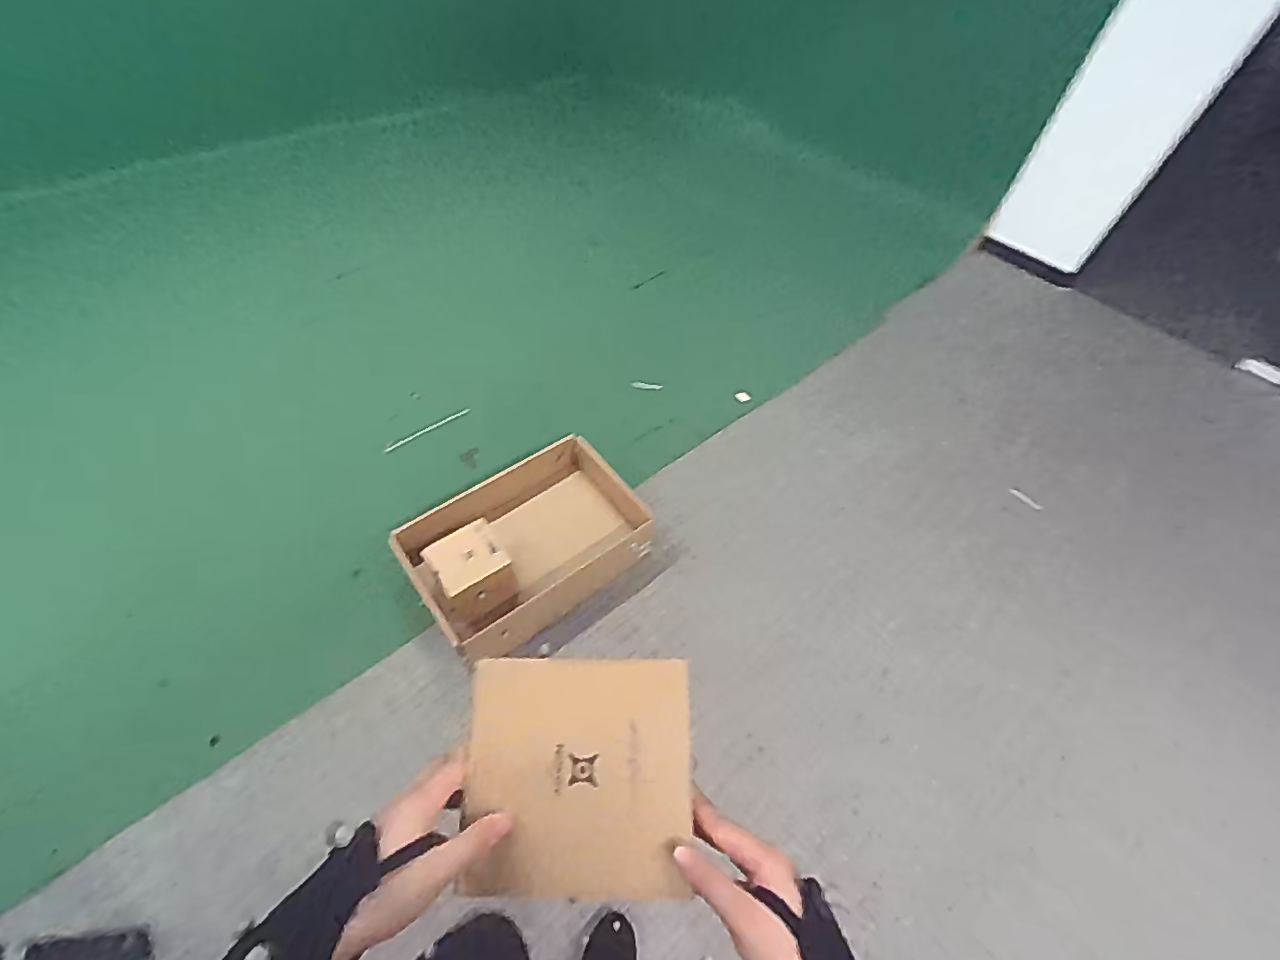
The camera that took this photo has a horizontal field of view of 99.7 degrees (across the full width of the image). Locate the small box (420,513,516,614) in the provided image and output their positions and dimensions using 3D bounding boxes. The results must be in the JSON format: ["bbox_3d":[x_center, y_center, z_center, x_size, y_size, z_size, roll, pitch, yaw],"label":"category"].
[{"bbox_3d":[-0.452,0.228,1.446,0.179,0.176,0.168,-30,63,-24],"label":"small box"}]
